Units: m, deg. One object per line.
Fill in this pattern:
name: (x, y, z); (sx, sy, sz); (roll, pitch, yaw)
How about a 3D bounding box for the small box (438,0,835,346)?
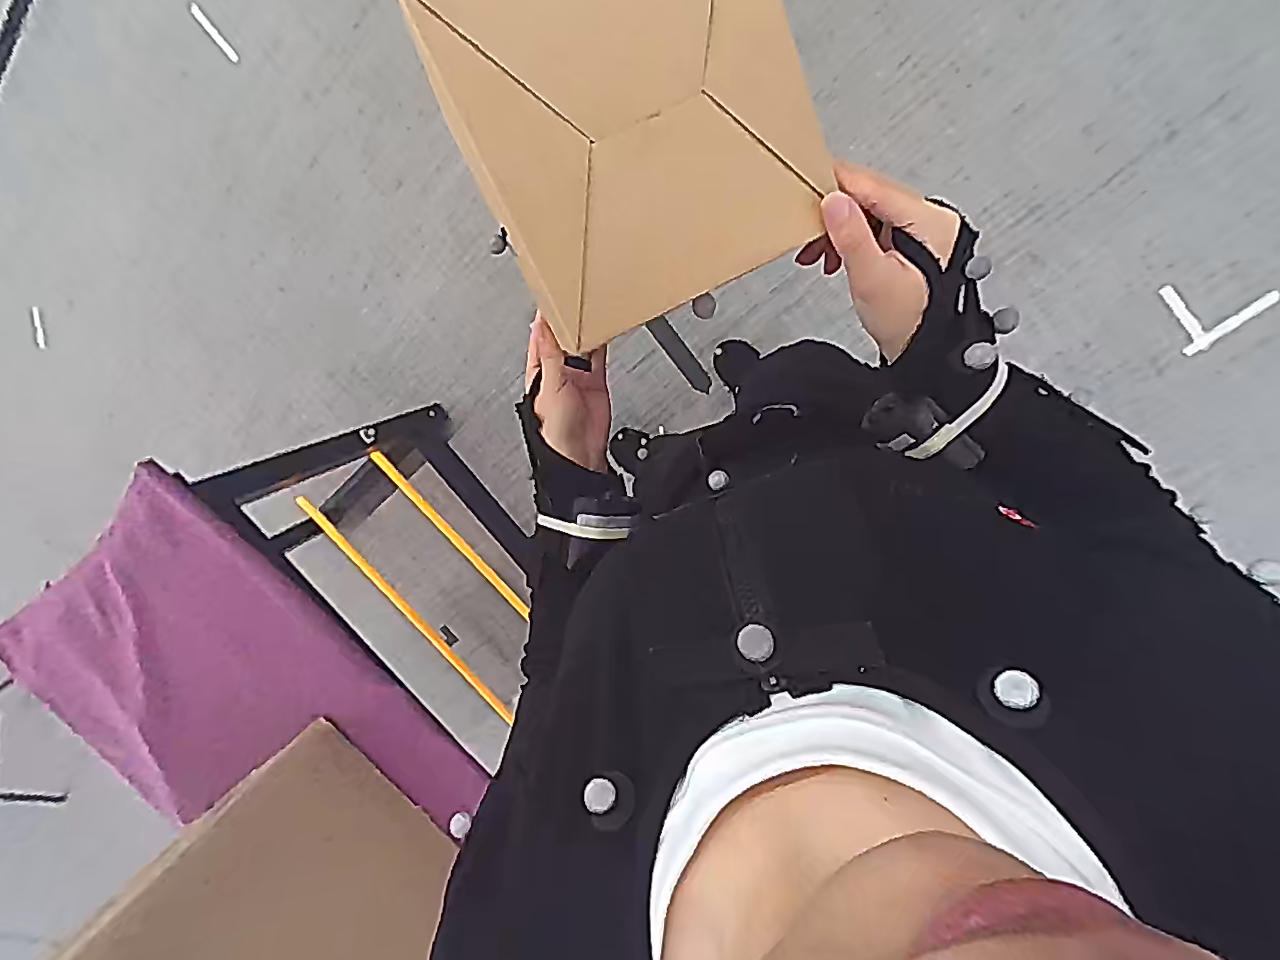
small box: (-0.007, -0.198, 0.339); (0.168, 0.176, 0.179); (-27, 108, -4)
